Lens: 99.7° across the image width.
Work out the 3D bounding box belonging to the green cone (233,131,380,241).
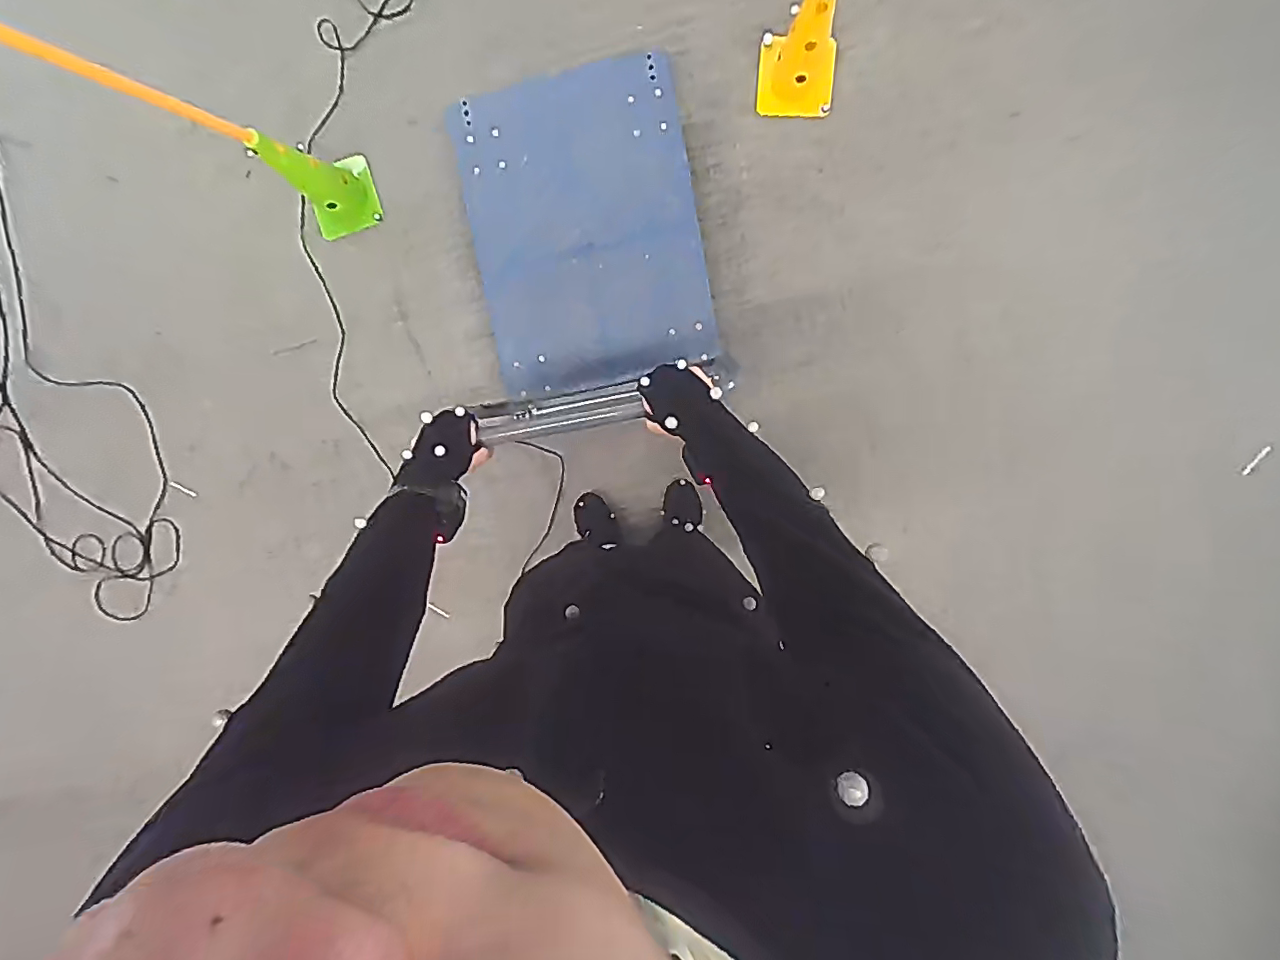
[{"bbox_3d":[-0.899,-0.811,1.425,0.202,0.368,0.200,-17,94,8],"label":"green cone"}]
